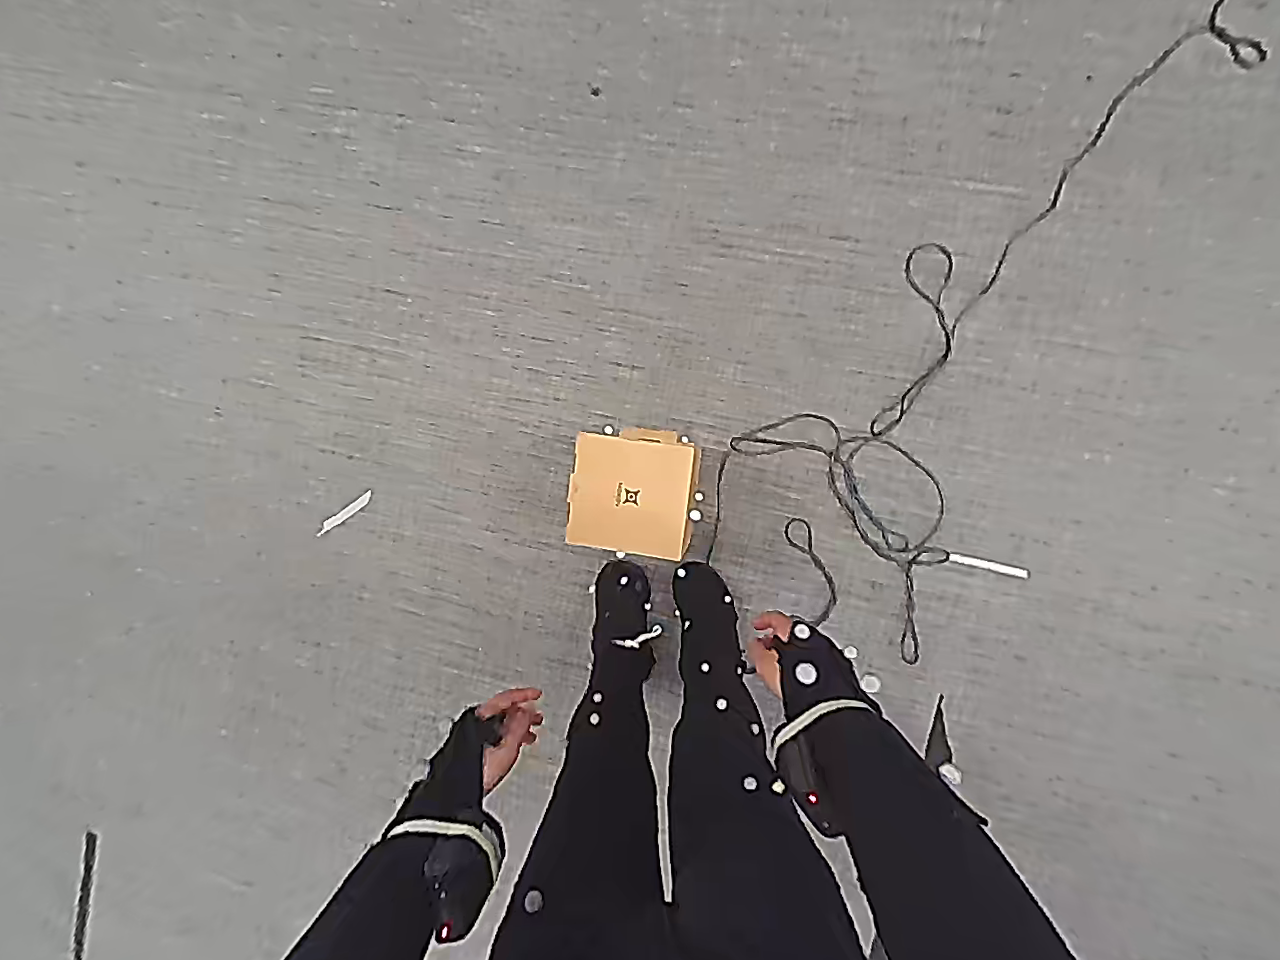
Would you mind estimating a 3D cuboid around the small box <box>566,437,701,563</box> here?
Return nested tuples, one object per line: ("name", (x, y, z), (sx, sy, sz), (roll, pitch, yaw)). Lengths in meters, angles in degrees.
("small box", (-0.001, 0.024, 0.855), (0.179, 0.176, 0.168), (7, 94, 11))
